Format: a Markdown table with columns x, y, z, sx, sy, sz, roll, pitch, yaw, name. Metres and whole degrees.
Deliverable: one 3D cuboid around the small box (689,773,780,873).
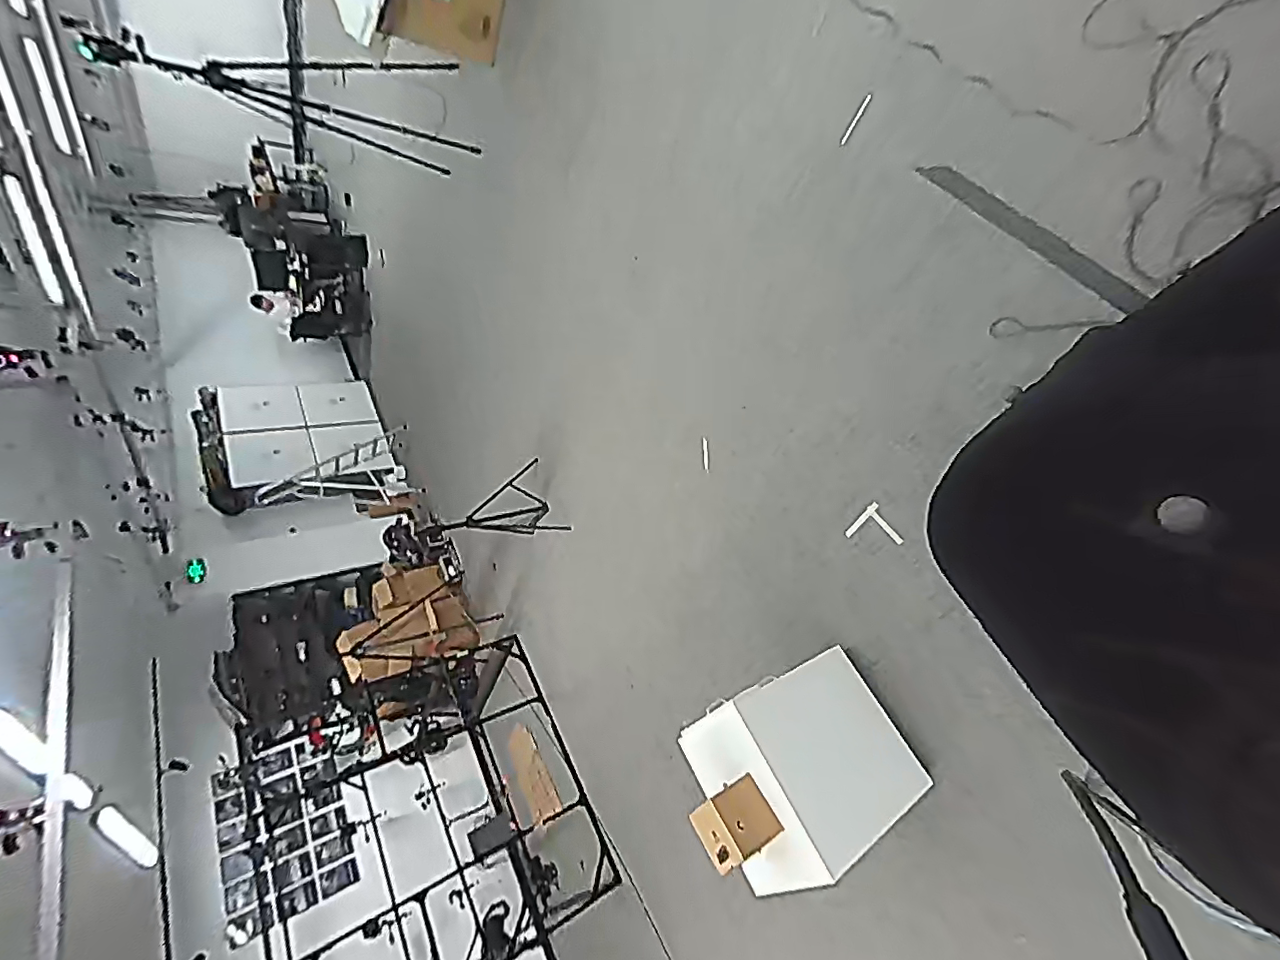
| x | y | z | sx | sy | sz | roll | pitch | yaw | name |
| --- | --- | --- | --- | --- | --- | --- | --- | --- | --- |
| 0.282 | 1.013 | 1.604 | 0.179 | 0.176 | 0.168 | 55 | 138 | 32 | small box |
